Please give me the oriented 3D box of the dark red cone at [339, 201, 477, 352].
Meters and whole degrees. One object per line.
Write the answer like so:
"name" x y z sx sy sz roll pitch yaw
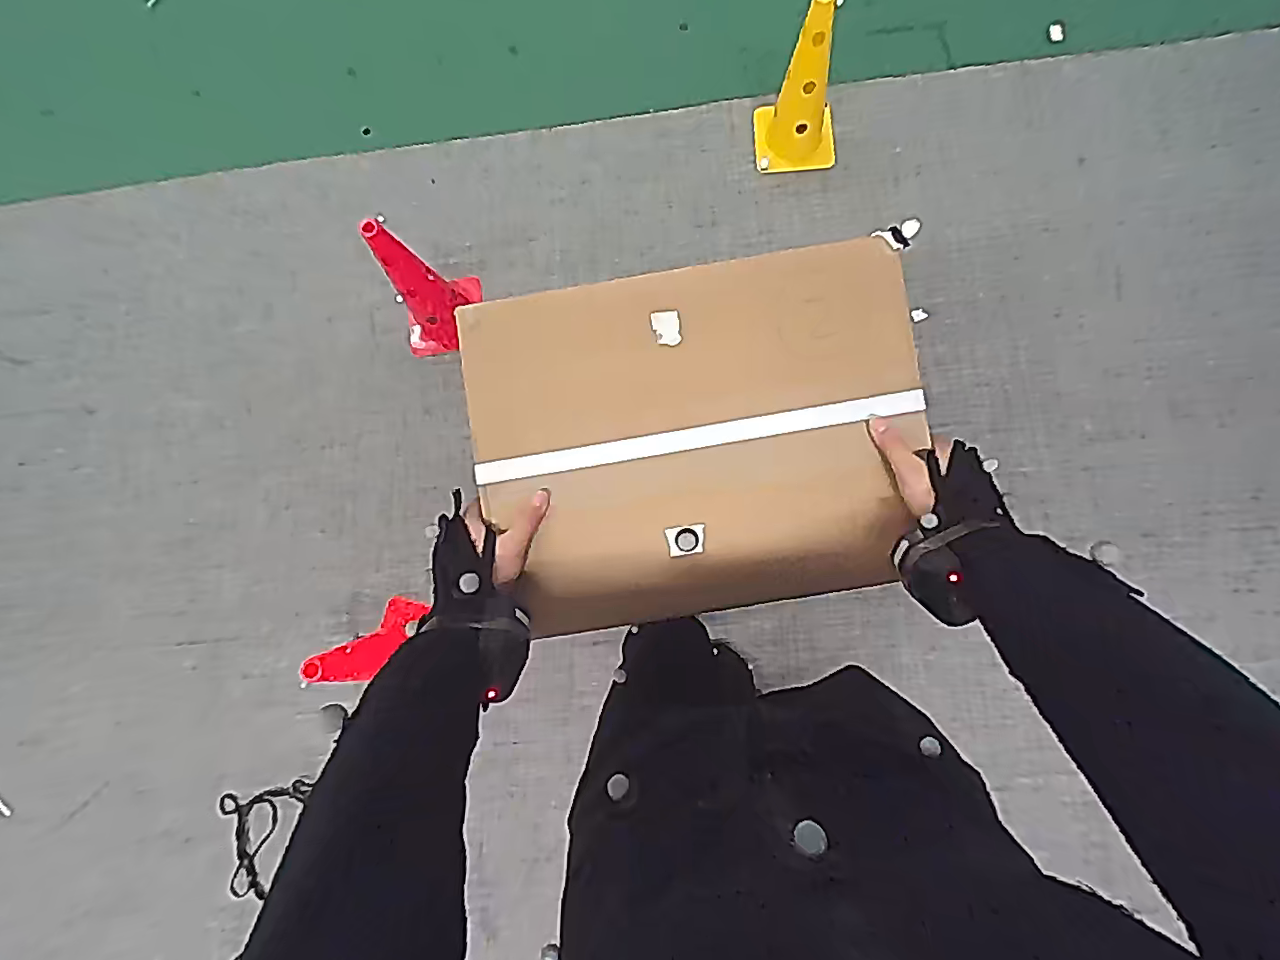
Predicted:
"dark red cone" -0.537 -0.475 1.230 0.202 0.394 0.201 -12 74 4

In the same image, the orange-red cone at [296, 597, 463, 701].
"orange-red cone" -0.541 0.346 1.077 0.199 0.360 0.198 15 79 11

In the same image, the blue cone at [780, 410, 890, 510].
"blue cone" 0.403 -0.061 1.072 0.192 0.380 0.193 -4 78 5
